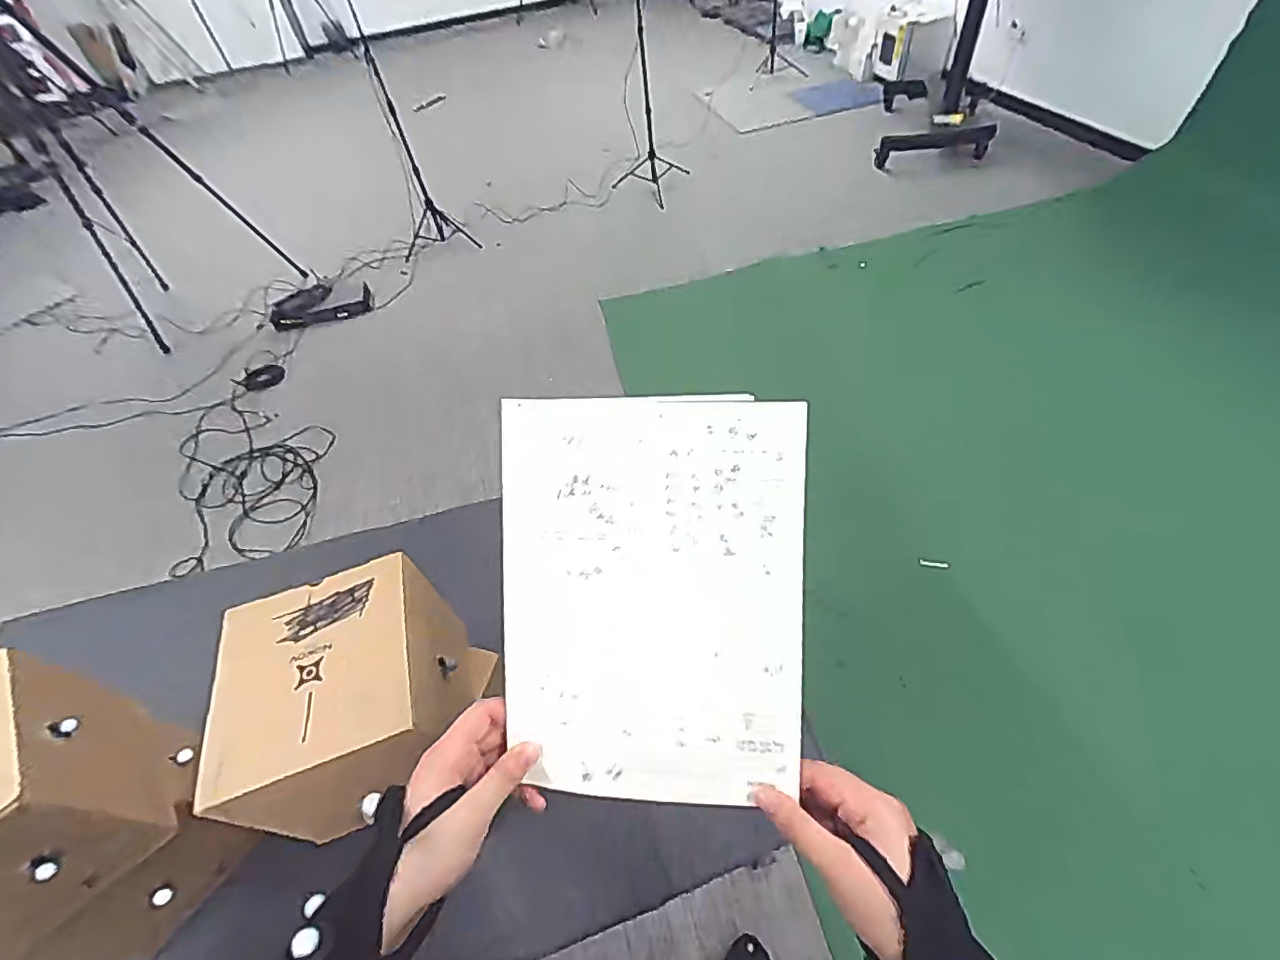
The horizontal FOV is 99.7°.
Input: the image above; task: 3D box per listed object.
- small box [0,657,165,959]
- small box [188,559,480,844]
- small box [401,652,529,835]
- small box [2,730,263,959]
[{"bbox_3d":[-0.580,0.301,0.483,0.168,0.176,0.179,-38,54,-23],"label":"small box"},{"bbox_3d":[-0.267,0.210,0.513,0.168,0.176,0.179,-19,50,-7],"label":"small box"},{"bbox_3d":[-0.254,0.305,0.648,0.179,0.176,0.168,7,51,15],"label":"small box"},{"bbox_3d":[-0.581,0.404,0.610,0.179,0.176,0.168,25,57,26],"label":"small box"}]
